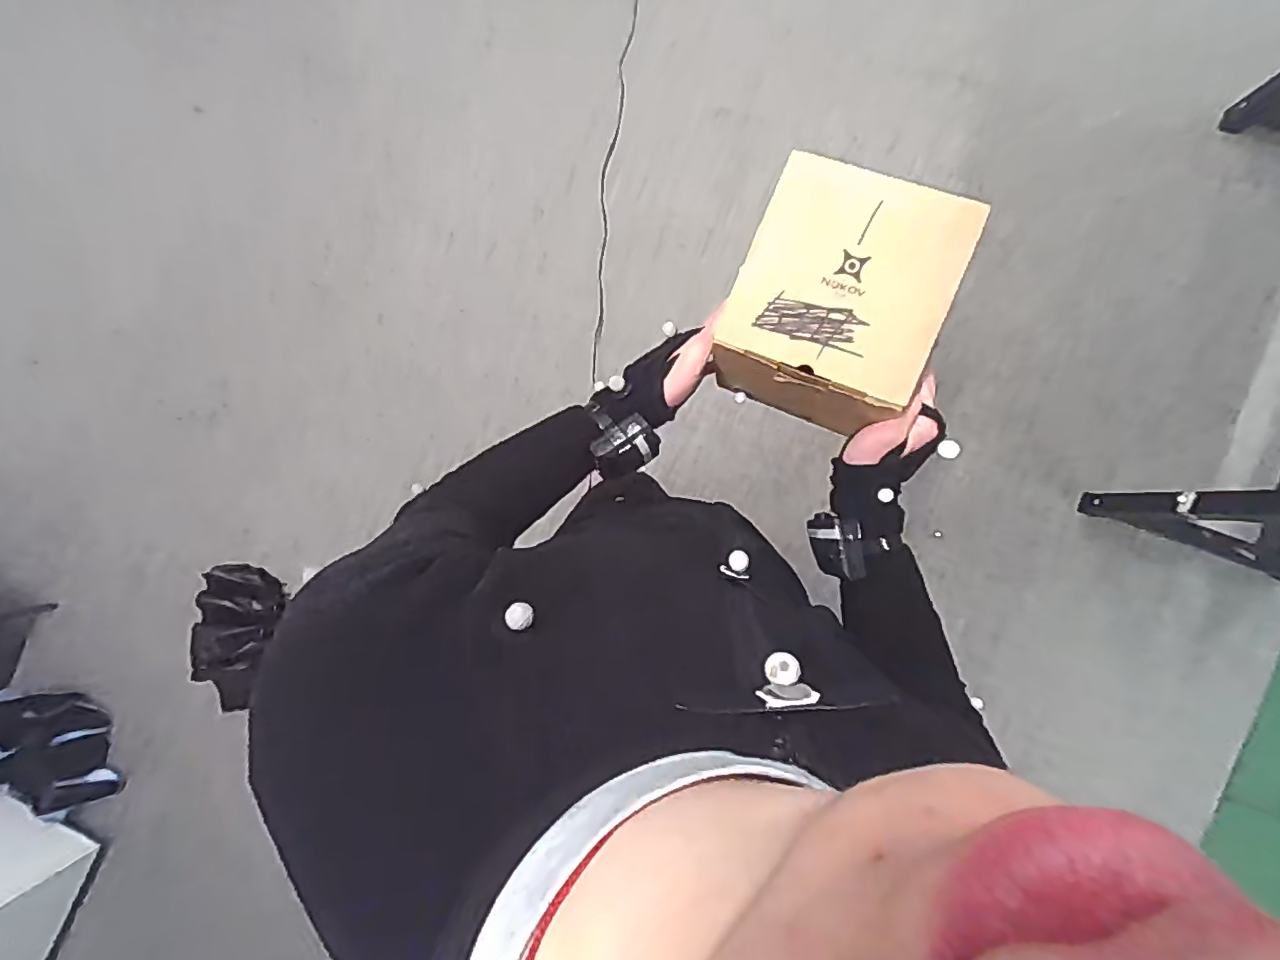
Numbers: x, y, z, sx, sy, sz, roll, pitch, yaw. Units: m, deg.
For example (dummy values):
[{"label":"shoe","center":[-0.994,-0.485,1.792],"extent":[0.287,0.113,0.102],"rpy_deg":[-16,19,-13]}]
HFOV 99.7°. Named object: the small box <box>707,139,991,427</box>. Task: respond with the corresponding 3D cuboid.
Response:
[{"label":"small box","center":[0.177,-0.164,0.507],"extent":[0.168,0.176,0.179],"rpy_deg":[24,91,10]}]
